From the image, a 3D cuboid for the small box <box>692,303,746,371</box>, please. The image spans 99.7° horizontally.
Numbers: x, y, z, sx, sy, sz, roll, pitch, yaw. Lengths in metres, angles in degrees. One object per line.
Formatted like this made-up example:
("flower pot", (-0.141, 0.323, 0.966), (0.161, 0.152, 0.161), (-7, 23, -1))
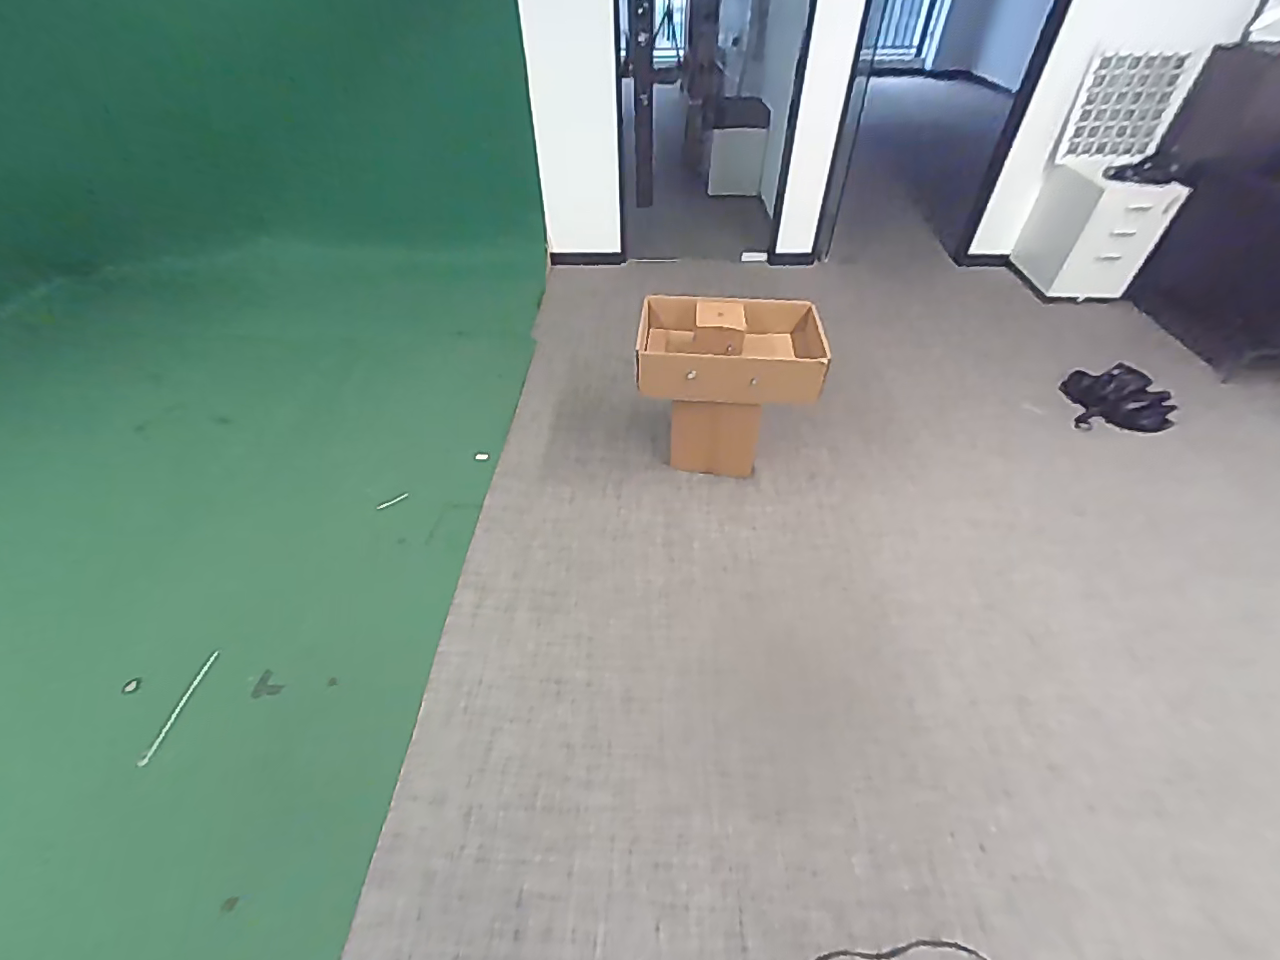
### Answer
("small box", (0.273, -0.499, 1.894), (0.168, 0.176, 0.179), (5, 43, 1))
